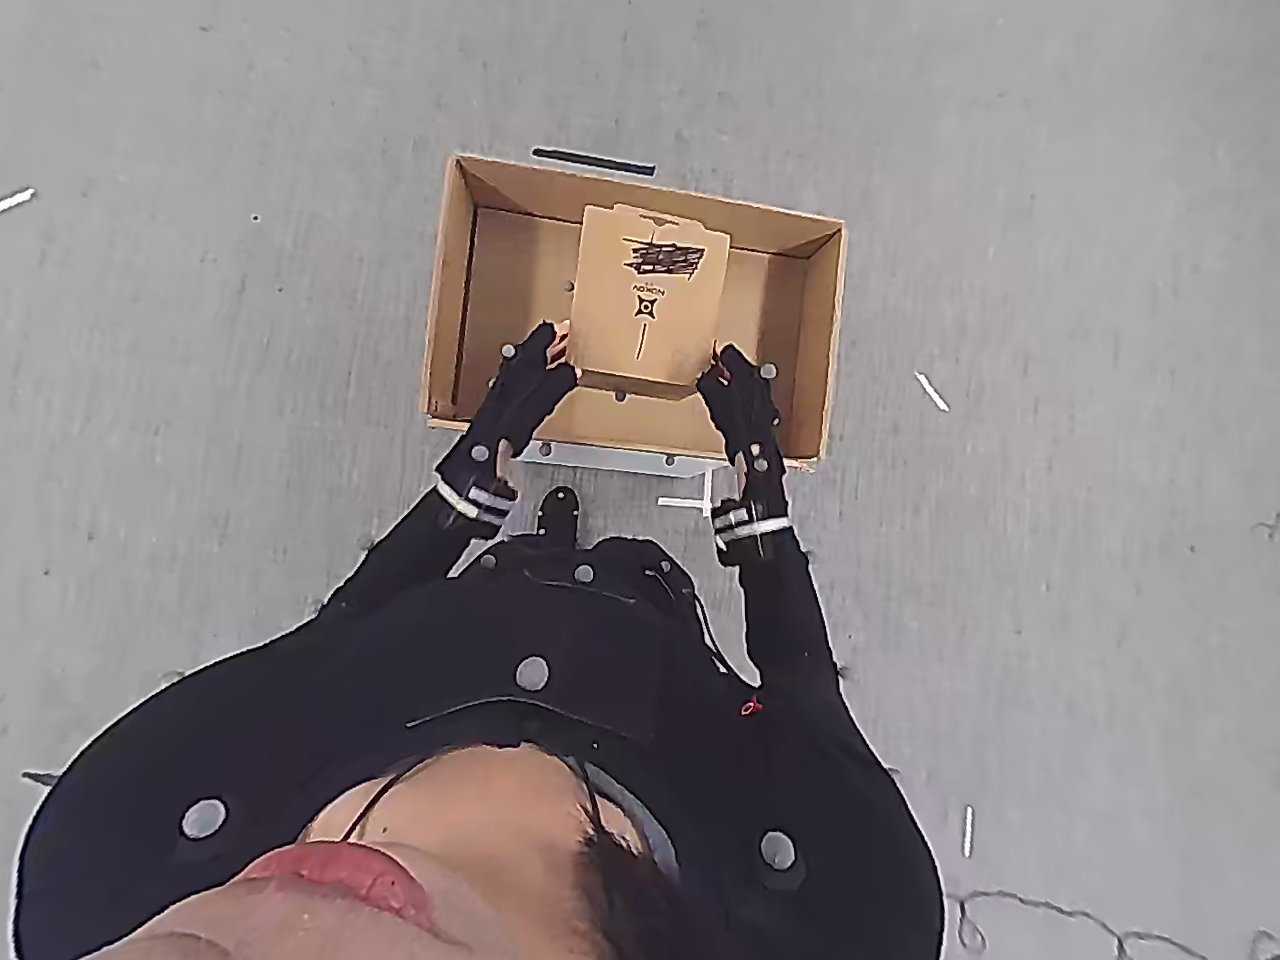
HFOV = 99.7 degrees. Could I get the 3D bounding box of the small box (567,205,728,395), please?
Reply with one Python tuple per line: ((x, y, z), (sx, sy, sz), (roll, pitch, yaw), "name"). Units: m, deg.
((-0.002, -0.212, 0.686), (0.168, 0.176, 0.179), (7, 93, -8), "small box")
